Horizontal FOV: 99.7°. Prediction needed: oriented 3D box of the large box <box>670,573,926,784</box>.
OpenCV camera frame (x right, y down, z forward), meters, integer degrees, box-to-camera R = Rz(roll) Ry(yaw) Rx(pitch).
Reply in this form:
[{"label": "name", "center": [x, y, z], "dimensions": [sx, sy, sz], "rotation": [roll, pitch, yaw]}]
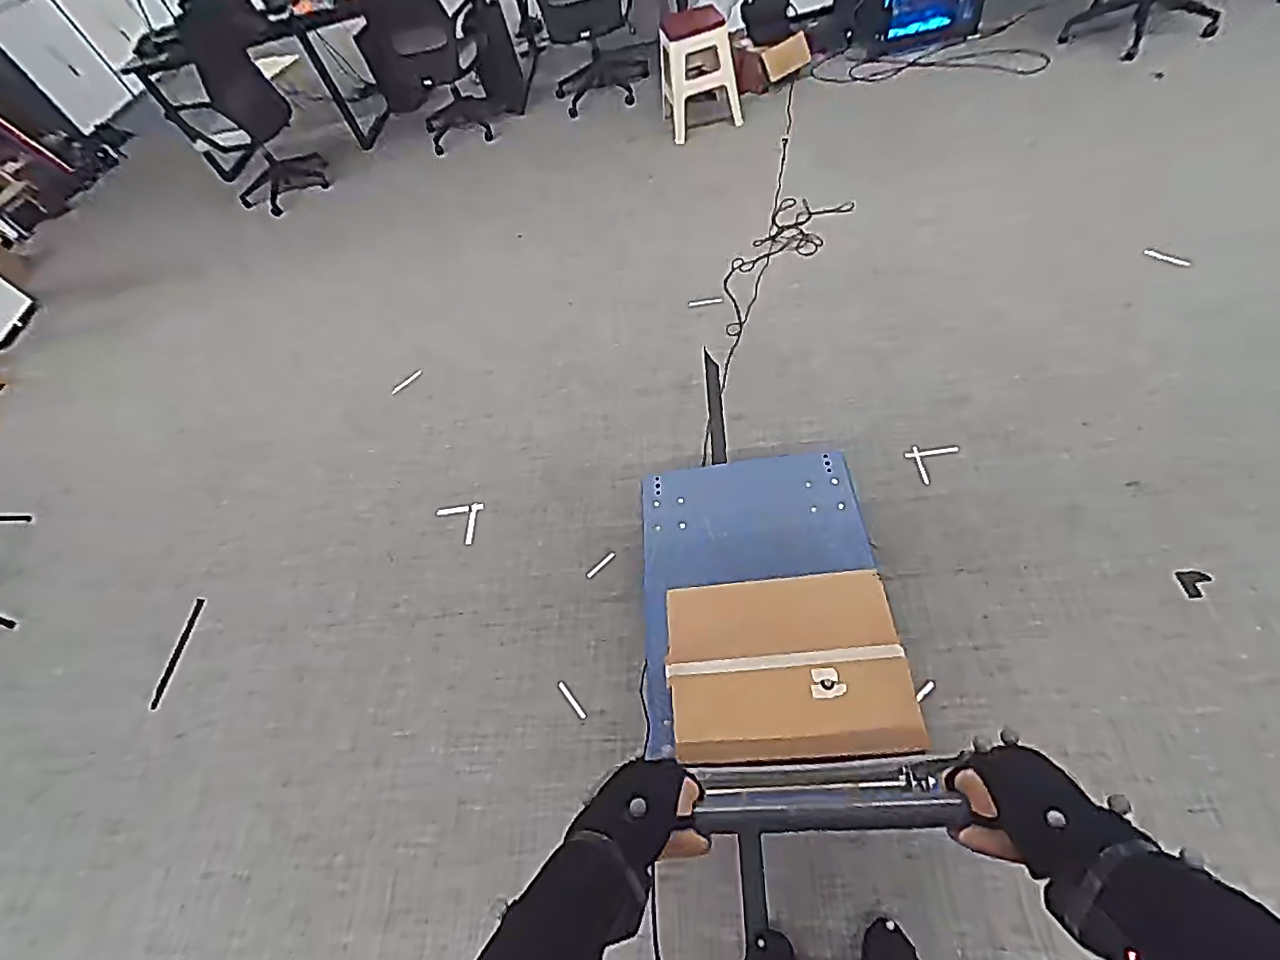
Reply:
[{"label": "large box", "center": [0.286, 0.413, 1.093], "dimensions": [0.408, 0.320, 0.320], "rotation": [-8, 56, 8]}]
